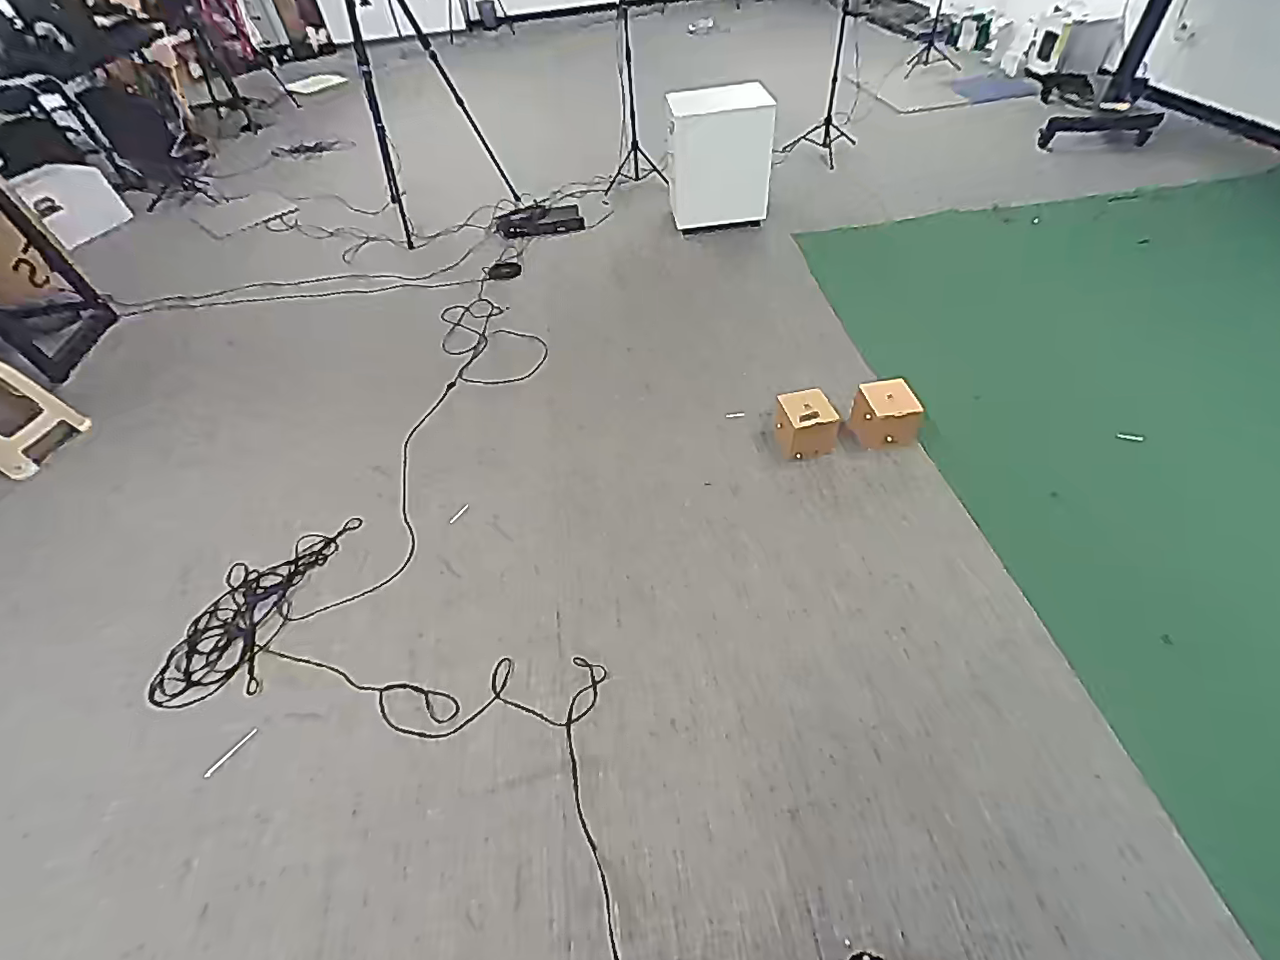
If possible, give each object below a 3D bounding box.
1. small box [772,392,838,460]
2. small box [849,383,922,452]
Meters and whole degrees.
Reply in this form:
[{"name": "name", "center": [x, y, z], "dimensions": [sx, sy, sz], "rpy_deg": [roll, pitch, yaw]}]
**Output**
[{"name": "small box", "center": [0.589, -0.189, 1.952], "dimensions": [0.168, 0.176, 0.179], "rpy_deg": [-11, 48, -5]}, {"name": "small box", "center": [0.879, -0.225, 1.957], "dimensions": [0.168, 0.176, 0.179], "rpy_deg": [-9, 49, -1]}]
